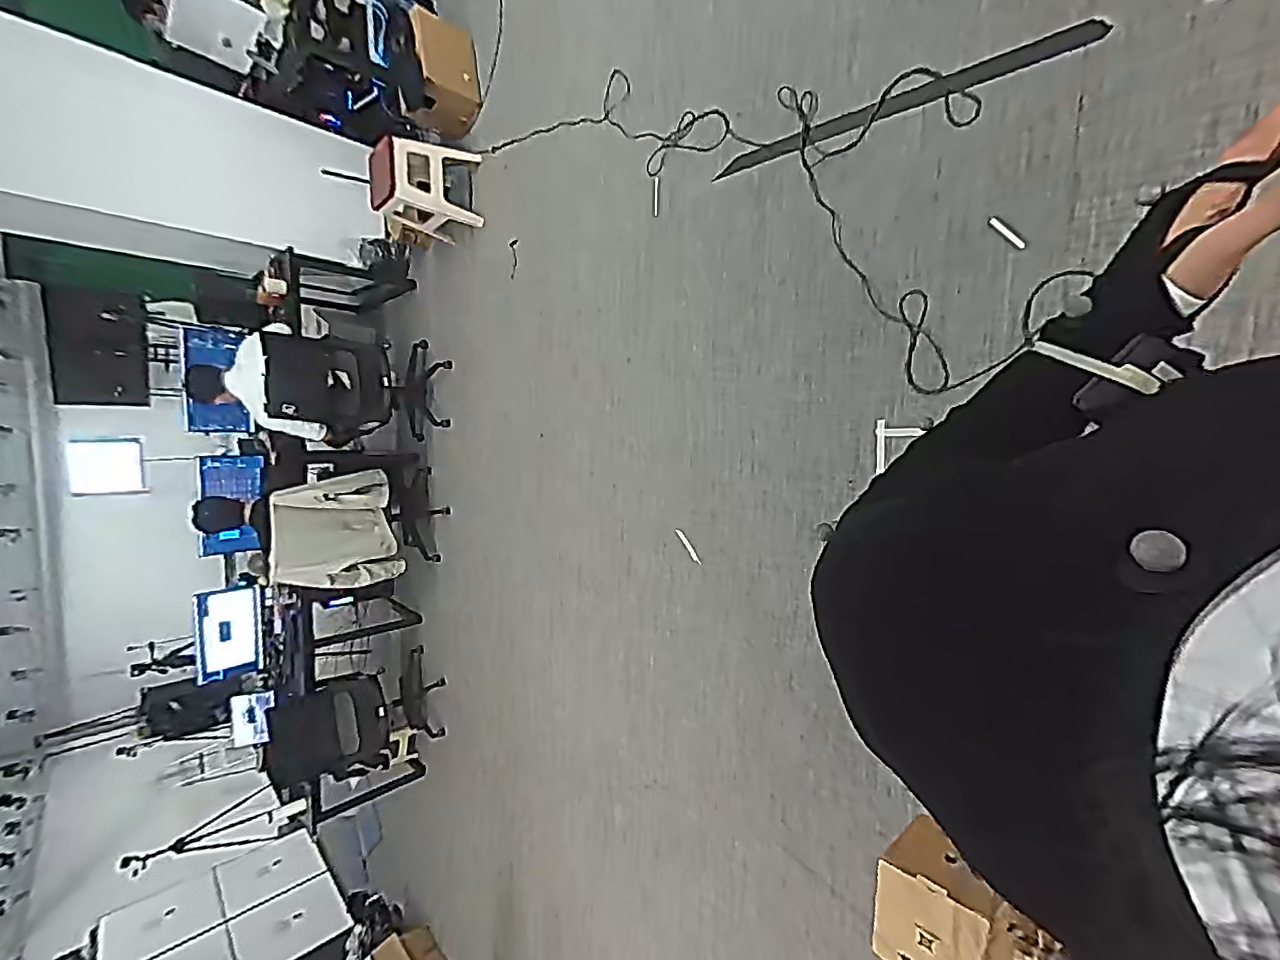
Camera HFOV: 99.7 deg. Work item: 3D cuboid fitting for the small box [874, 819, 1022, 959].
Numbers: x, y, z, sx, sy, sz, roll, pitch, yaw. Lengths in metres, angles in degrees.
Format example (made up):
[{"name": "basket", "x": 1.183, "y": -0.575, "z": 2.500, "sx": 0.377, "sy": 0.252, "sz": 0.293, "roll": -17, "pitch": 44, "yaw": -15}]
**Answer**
[{"name": "small box", "x": 0.516, "y": 0.713, "z": 0.902, "sx": 0.168, "sy": 0.176, "sz": 0.179, "roll": 7, "pitch": 95, "yaw": 48}]
